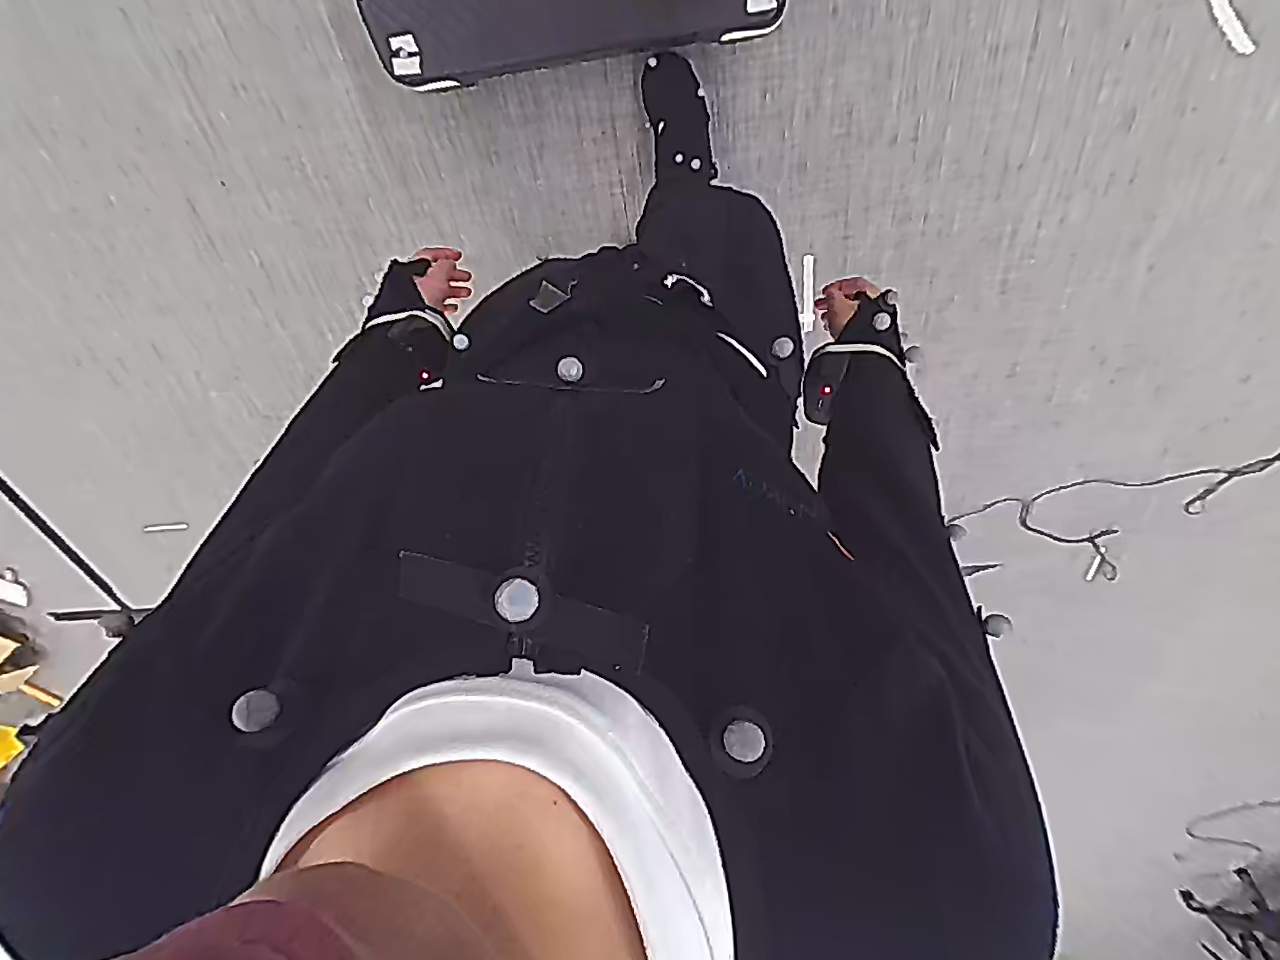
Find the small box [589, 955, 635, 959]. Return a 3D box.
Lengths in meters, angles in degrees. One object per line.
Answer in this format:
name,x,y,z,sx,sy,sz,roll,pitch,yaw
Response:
small box,-0.083,1.661,1.733,0.168,0.176,0.179,-2,124,4

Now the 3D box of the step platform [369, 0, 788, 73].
step platform,-0.097,-0.852,0.831,0.684,0.204,0.286,-4,124,7
